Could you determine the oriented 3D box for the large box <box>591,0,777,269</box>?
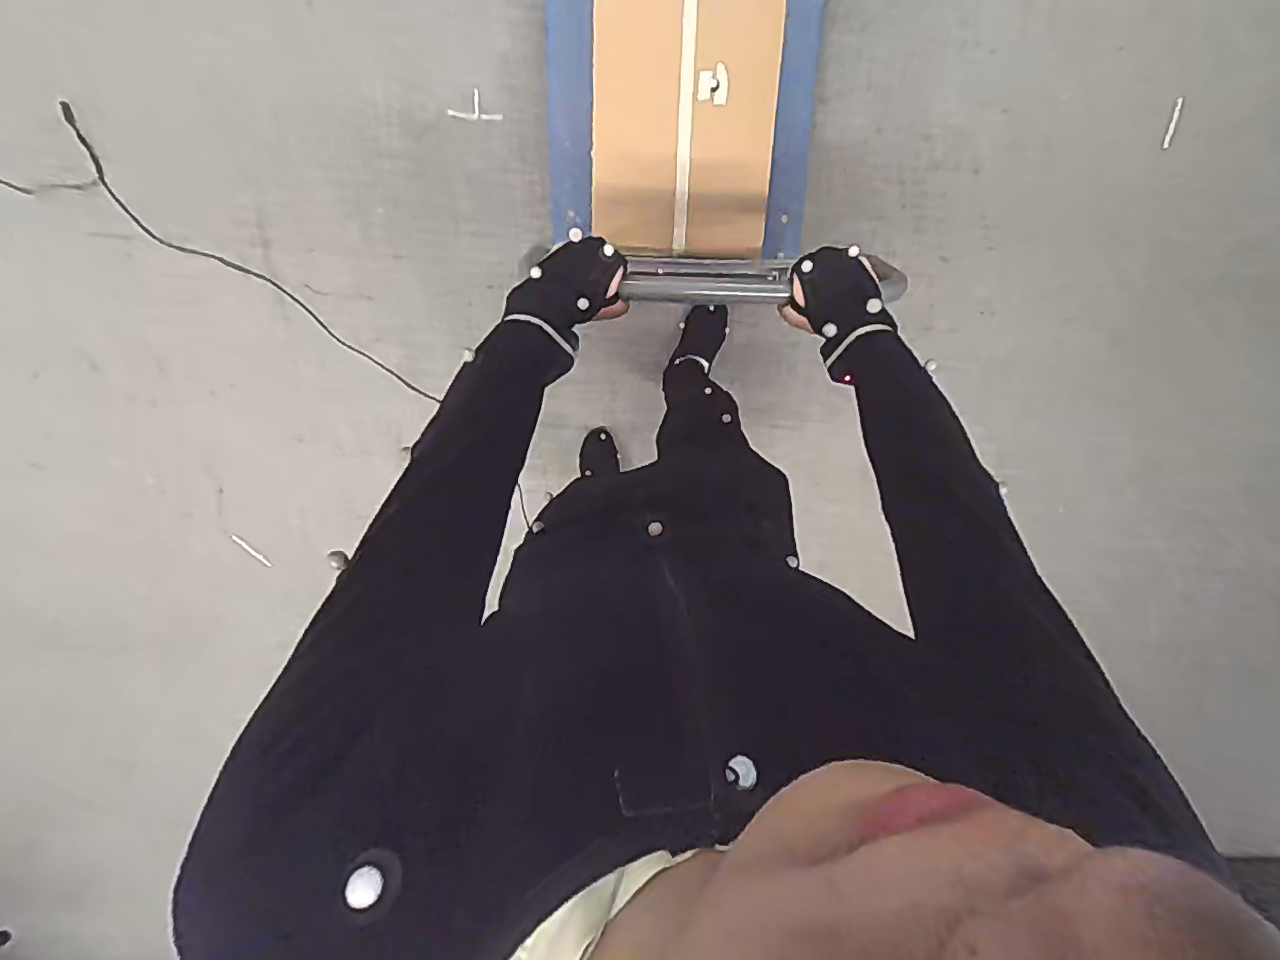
[{"bbox_3d":[0.073,-0.649,1.087,0.320,0.320,0.408,1,106,-1],"label":"large box"}]
